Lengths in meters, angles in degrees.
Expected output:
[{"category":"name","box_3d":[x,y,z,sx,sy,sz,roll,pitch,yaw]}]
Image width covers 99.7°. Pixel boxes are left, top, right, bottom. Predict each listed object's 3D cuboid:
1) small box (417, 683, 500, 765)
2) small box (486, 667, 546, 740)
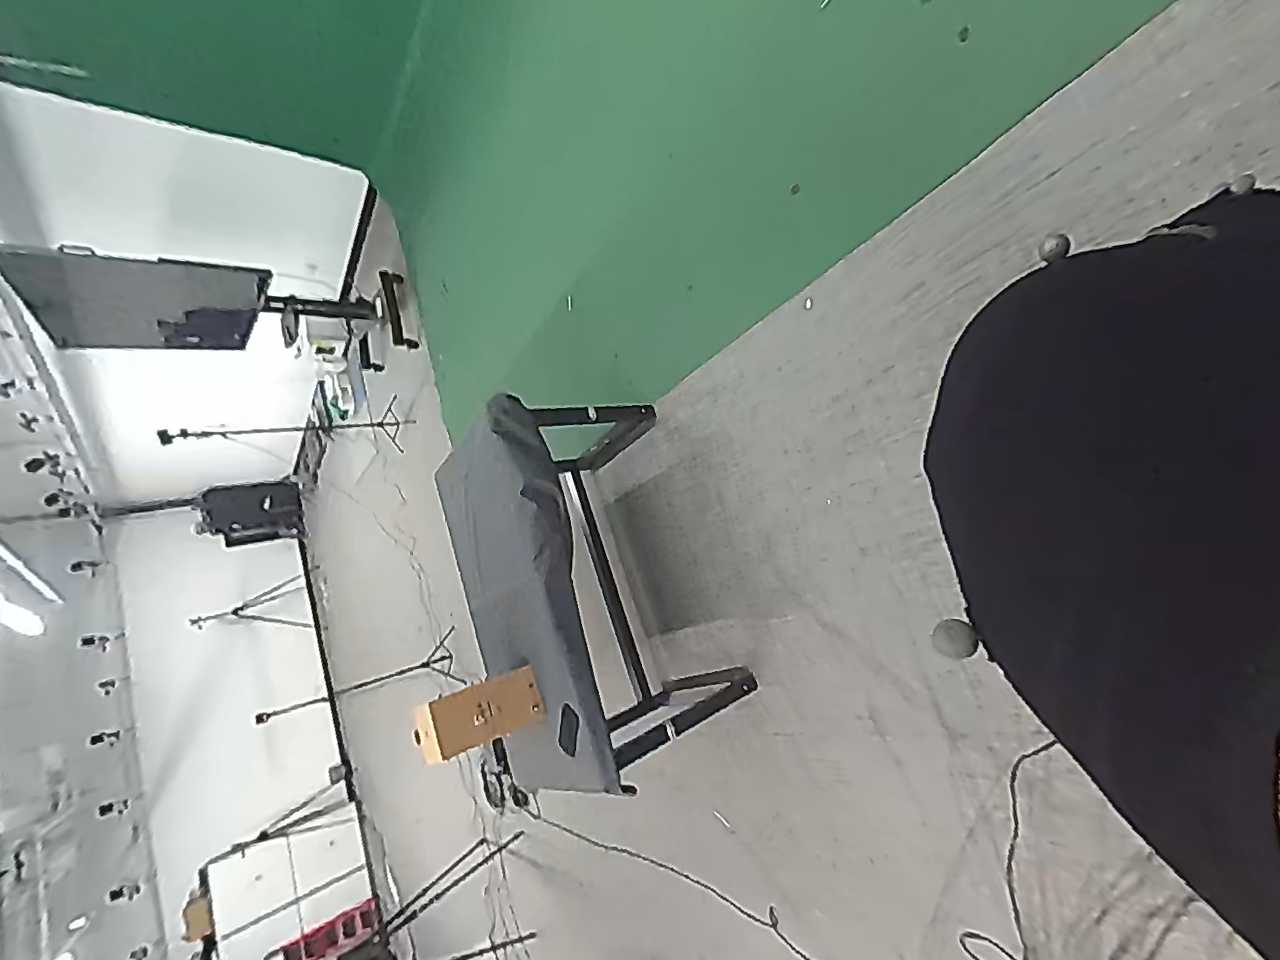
[{"category":"small box","box_3d":[-0.541,0.725,1.613,0.179,0.176,0.168,-39,68,45]},{"category":"small box","box_3d":[-0.417,0.709,1.716,0.179,0.176,0.168,-39,67,47]}]
